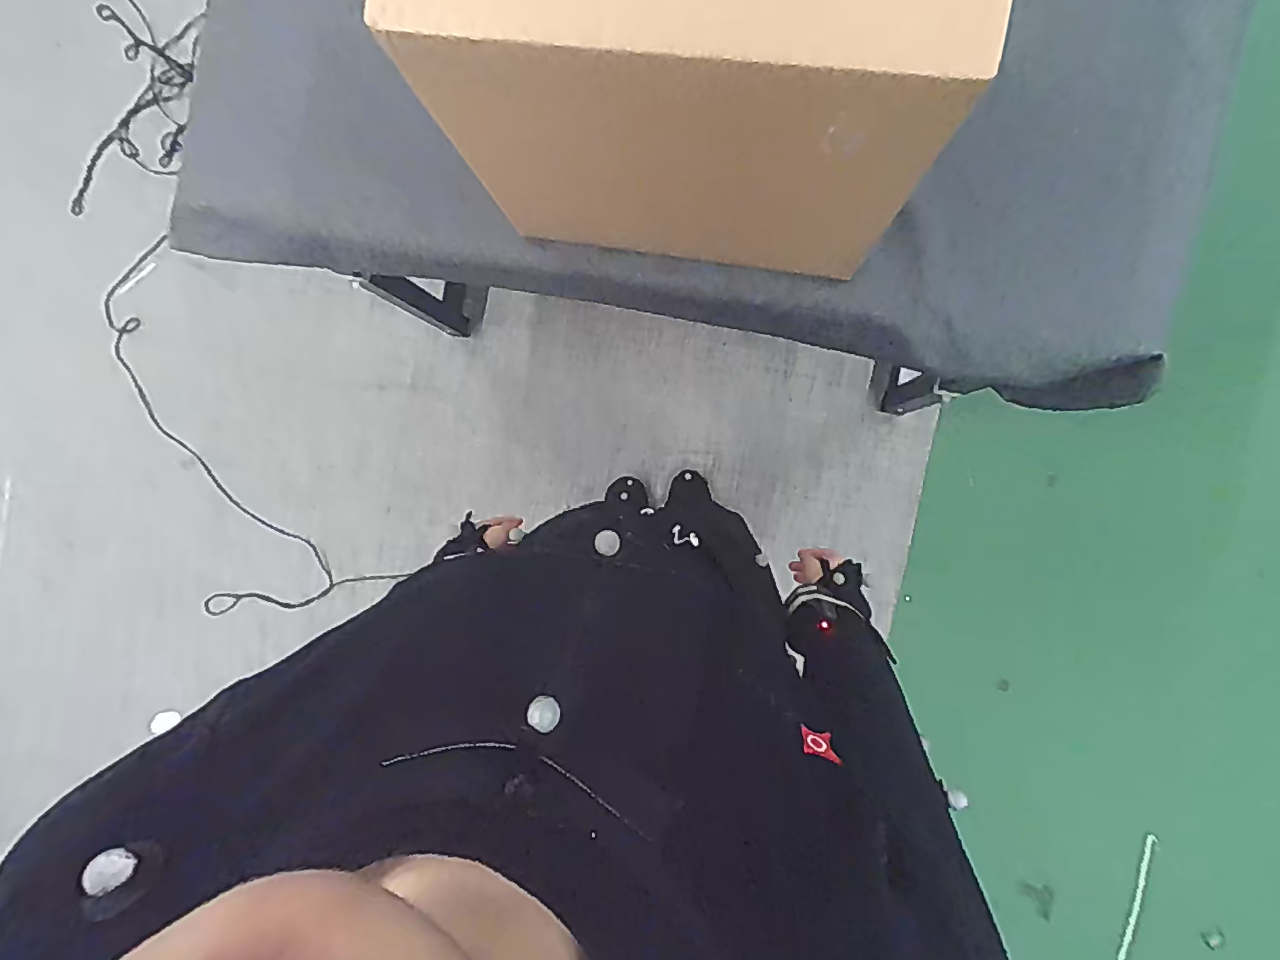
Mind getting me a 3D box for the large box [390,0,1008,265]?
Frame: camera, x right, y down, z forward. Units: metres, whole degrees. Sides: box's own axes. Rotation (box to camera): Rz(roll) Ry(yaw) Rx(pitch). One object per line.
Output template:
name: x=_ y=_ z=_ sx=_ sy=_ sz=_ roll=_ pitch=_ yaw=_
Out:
large box: x=0.058 y=-0.426 z=0.496 sx=0.408 sy=0.320 sz=0.320 roll=9 pitch=91 yaw=5
